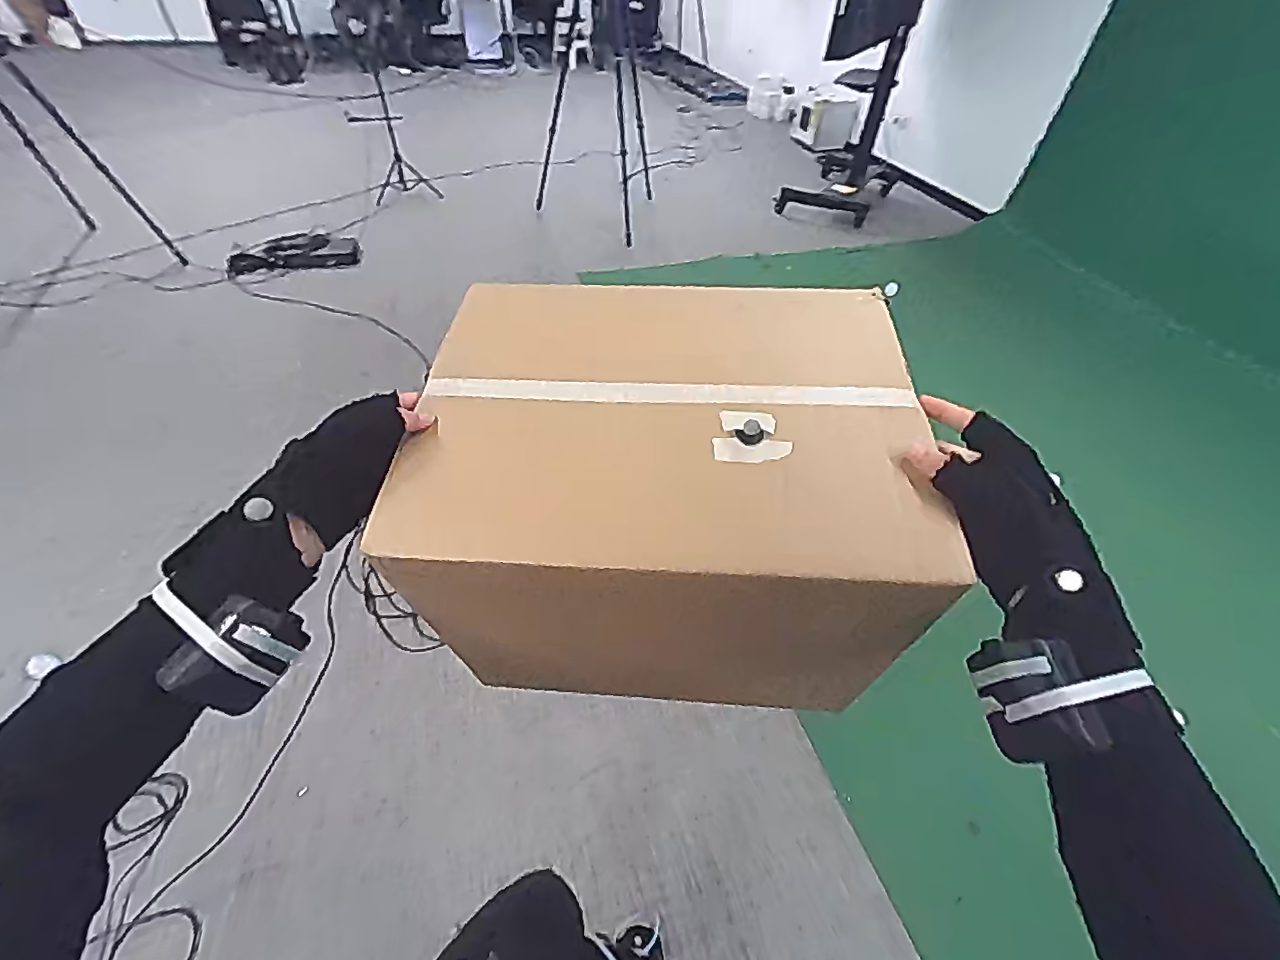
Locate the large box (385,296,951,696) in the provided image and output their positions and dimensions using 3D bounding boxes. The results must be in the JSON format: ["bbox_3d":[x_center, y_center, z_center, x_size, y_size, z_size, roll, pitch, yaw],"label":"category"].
[{"bbox_3d":[0.024,0.025,0.581,0.408,0.320,0.320,3,53,3],"label":"large box"}]
